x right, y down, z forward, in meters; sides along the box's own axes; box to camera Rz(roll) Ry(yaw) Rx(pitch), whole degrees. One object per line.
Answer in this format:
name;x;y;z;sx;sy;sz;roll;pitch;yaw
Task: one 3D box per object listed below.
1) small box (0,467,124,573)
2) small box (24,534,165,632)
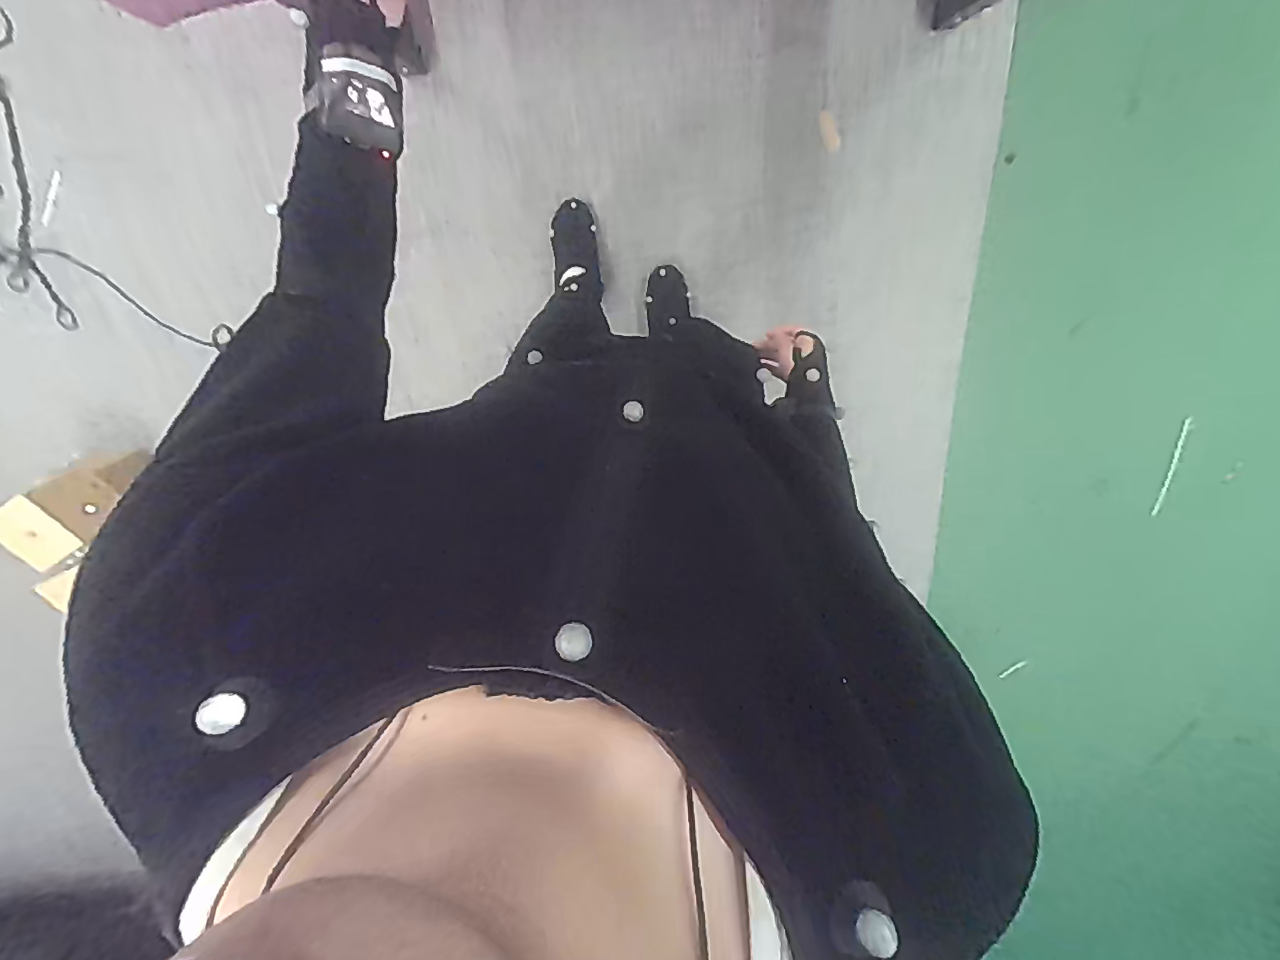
small box;-1.471;0.095;1.359;0.179;0.176;0.168;-28;113;14
small box;-1.438;0.269;1.446;0.179;0.176;0.168;-21;114;10
